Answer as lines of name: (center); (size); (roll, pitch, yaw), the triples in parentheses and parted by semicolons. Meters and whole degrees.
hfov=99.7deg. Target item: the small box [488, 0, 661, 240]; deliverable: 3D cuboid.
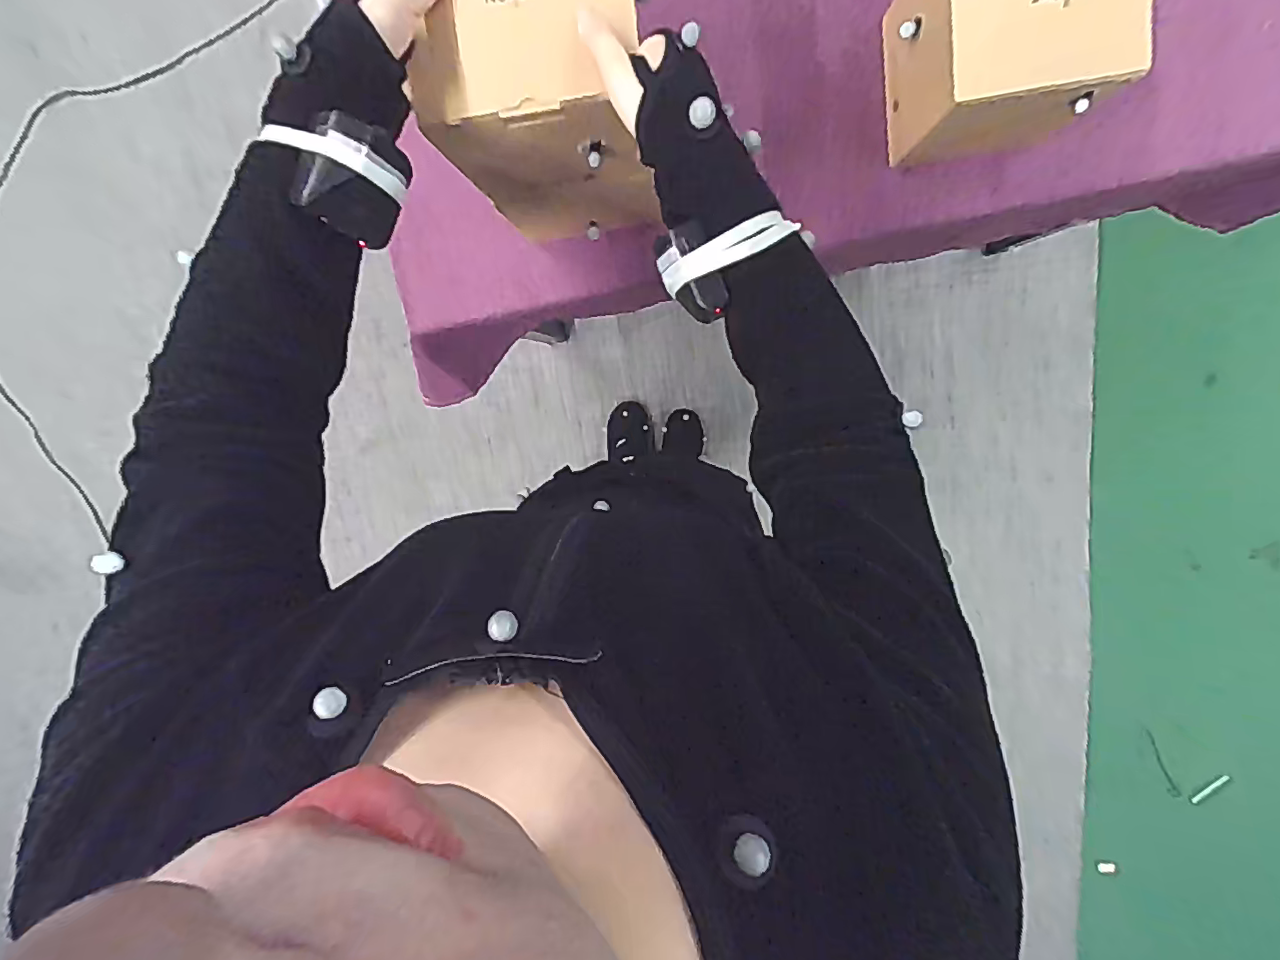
small box: (-0.072, -0.385, 0.606); (0.179, 0.176, 0.168); (-8, 100, 5)

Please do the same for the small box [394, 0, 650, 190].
small box: (-0.084, -0.359, 0.445); (0.168, 0.176, 0.179); (-6, 100, 5)

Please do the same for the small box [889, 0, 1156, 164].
small box: (0.373, -0.453, 0.560); (0.179, 0.176, 0.168); (-6, 101, 5)
